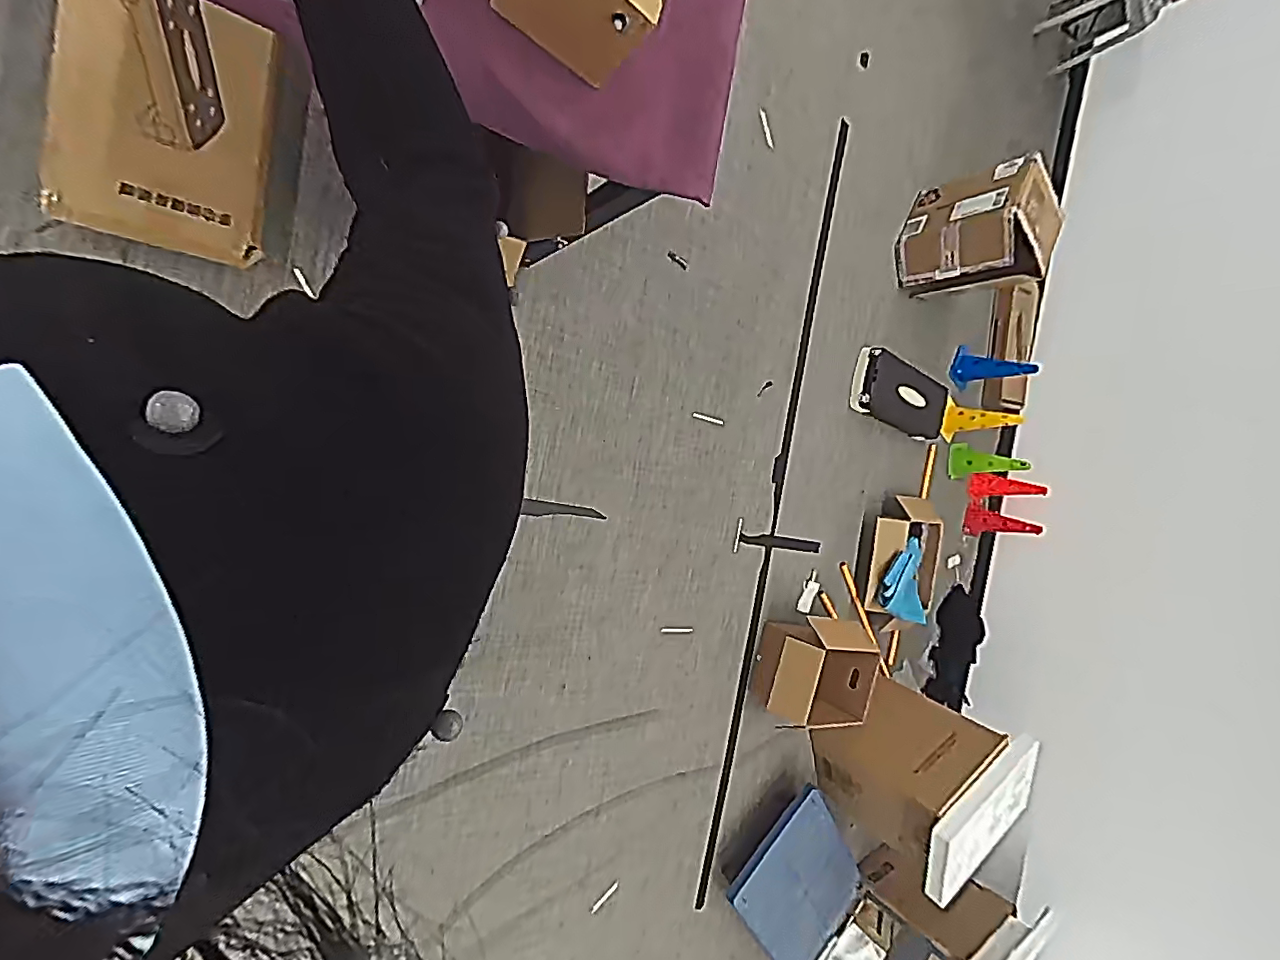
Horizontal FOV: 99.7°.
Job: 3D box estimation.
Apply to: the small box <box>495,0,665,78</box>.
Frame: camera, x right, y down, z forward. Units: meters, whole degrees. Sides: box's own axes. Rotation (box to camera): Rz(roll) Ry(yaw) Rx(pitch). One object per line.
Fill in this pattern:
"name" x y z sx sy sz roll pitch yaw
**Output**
"small box" -0.070 -0.684 0.708 0.179 0.176 0.168 16 87 -36
